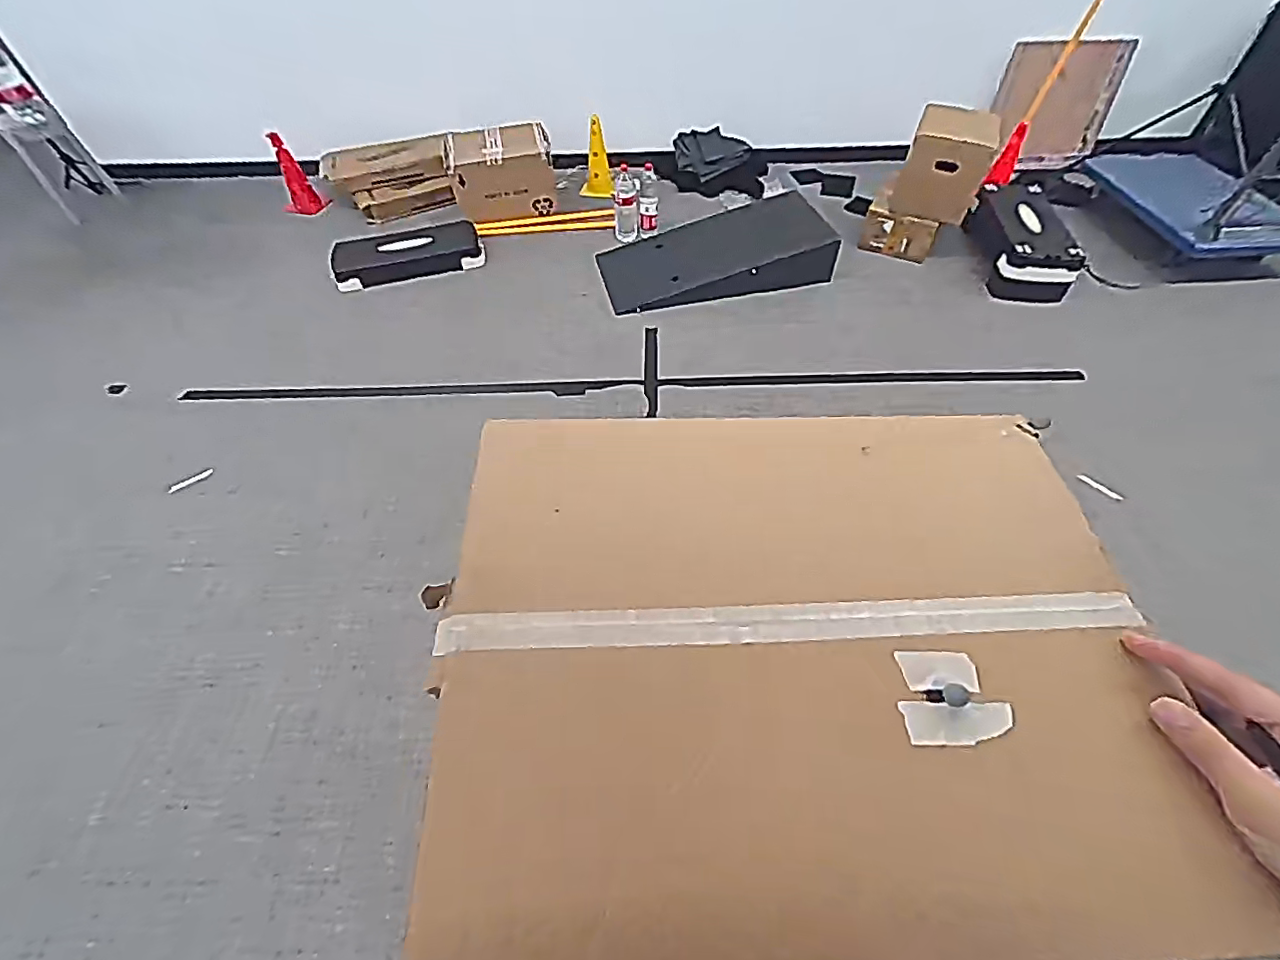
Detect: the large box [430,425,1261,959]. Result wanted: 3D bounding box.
[{"bbox_3d":[0.086,0.171,0.450,0.408,0.320,0.320,-1,57,-4],"label":"large box"}]
